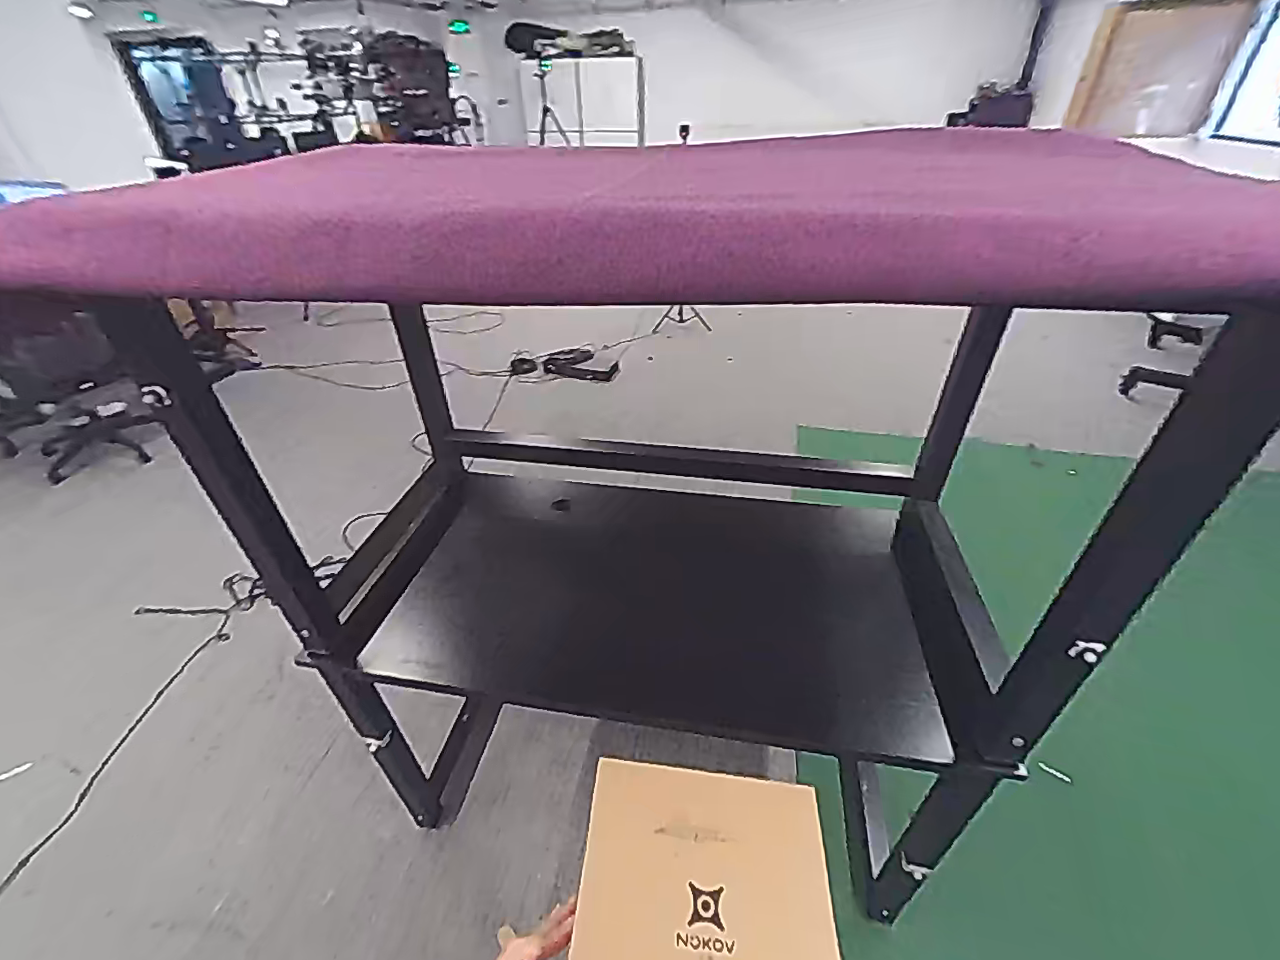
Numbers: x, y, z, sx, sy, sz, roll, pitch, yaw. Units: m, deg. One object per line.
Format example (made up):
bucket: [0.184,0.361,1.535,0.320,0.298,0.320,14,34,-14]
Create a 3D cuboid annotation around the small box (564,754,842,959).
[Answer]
small box: [0.033,0.330,0.381,0.168,0.176,0.179,9,38,1]
